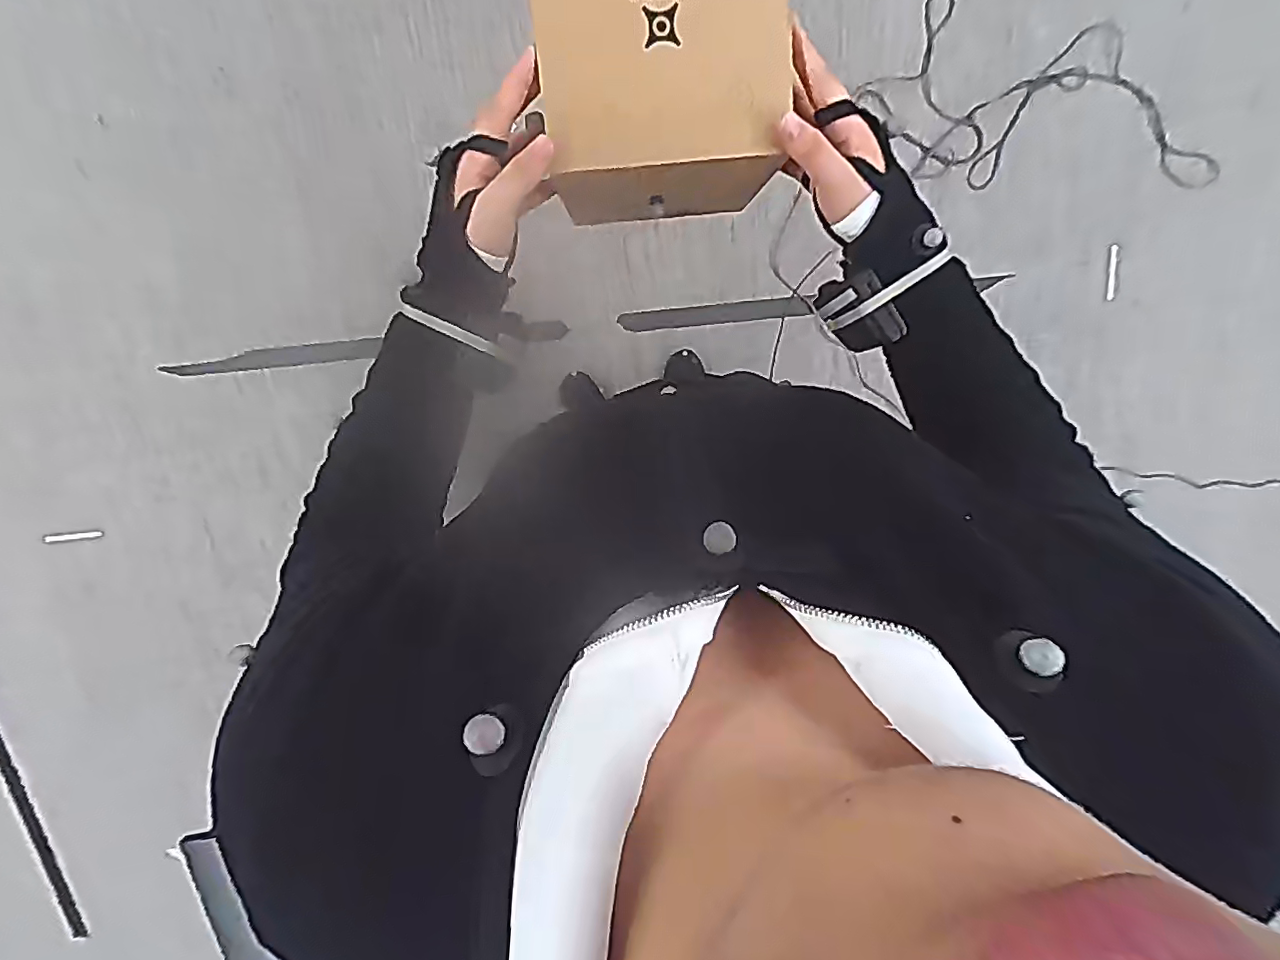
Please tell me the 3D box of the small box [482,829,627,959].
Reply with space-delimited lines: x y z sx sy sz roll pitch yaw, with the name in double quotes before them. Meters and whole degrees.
"small box" -0.118 0.668 0.818 0.179 0.176 0.168 -12 103 0
